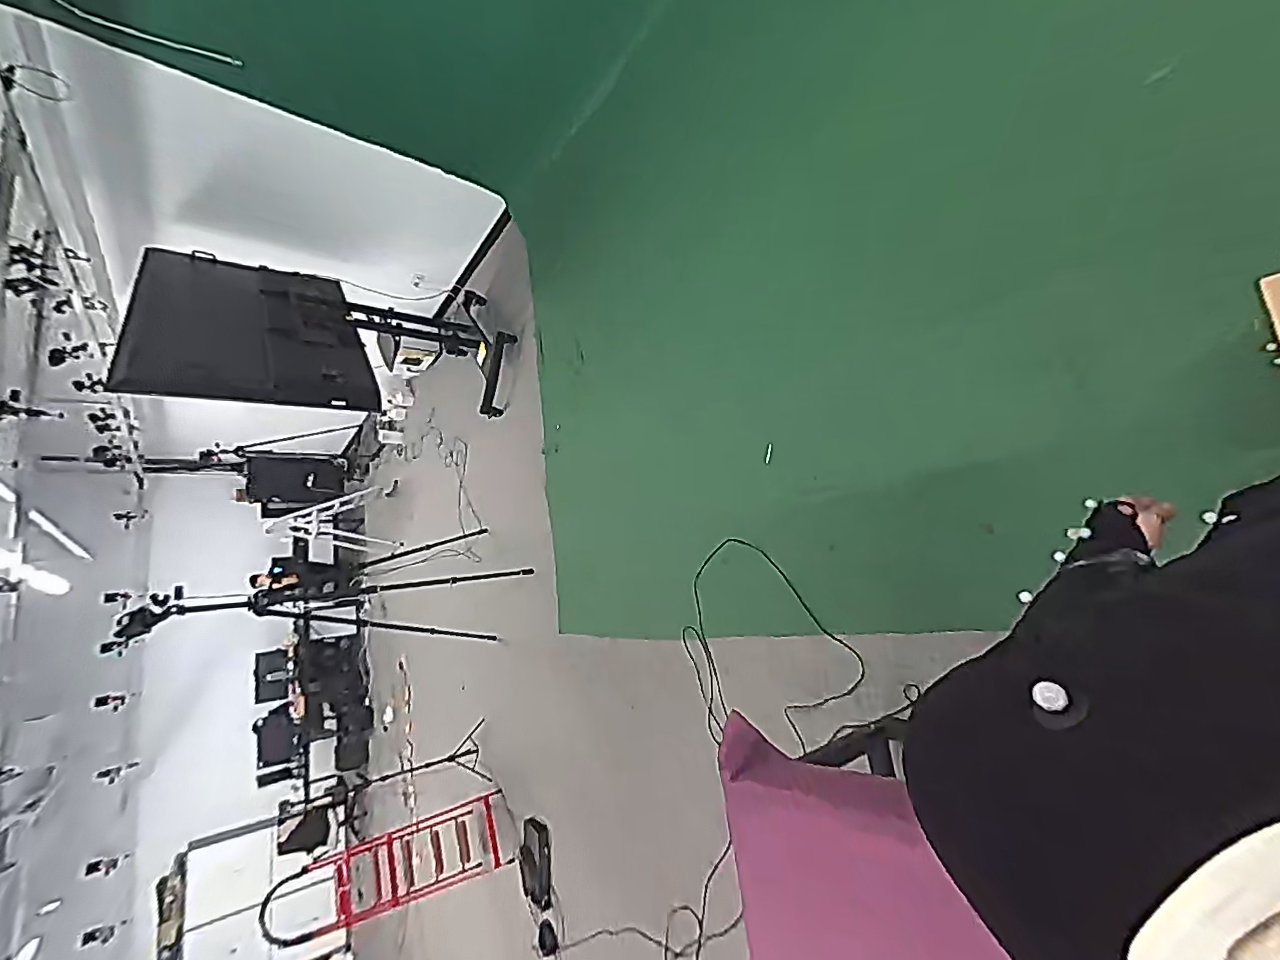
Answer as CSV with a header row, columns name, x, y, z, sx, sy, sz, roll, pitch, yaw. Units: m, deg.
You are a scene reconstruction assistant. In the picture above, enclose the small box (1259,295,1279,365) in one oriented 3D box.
name,x,y,z,sx,sy,sz,roll,pitch,yaw
small box,1.282,-0.267,0.983,0.168,0.176,0.179,-21,72,49
